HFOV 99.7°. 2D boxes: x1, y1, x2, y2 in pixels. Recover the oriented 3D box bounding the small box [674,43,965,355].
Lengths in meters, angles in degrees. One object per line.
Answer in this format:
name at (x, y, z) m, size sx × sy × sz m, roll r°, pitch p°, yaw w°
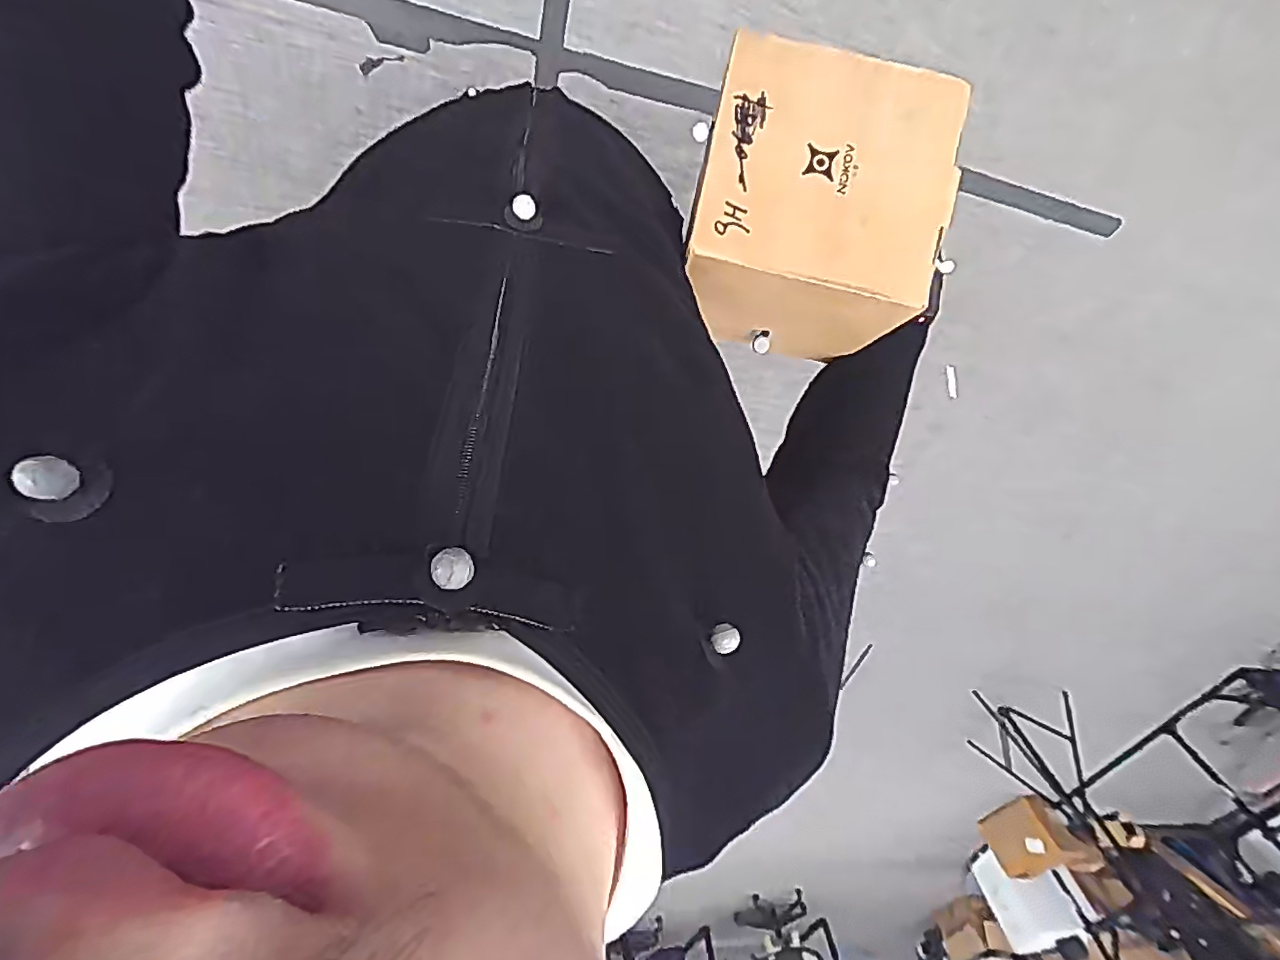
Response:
small box at (0.138, -0.221, 0.476) m, size 0.179 × 0.176 × 0.168 m, roll 13°, pitch 88°, yaw -2°
